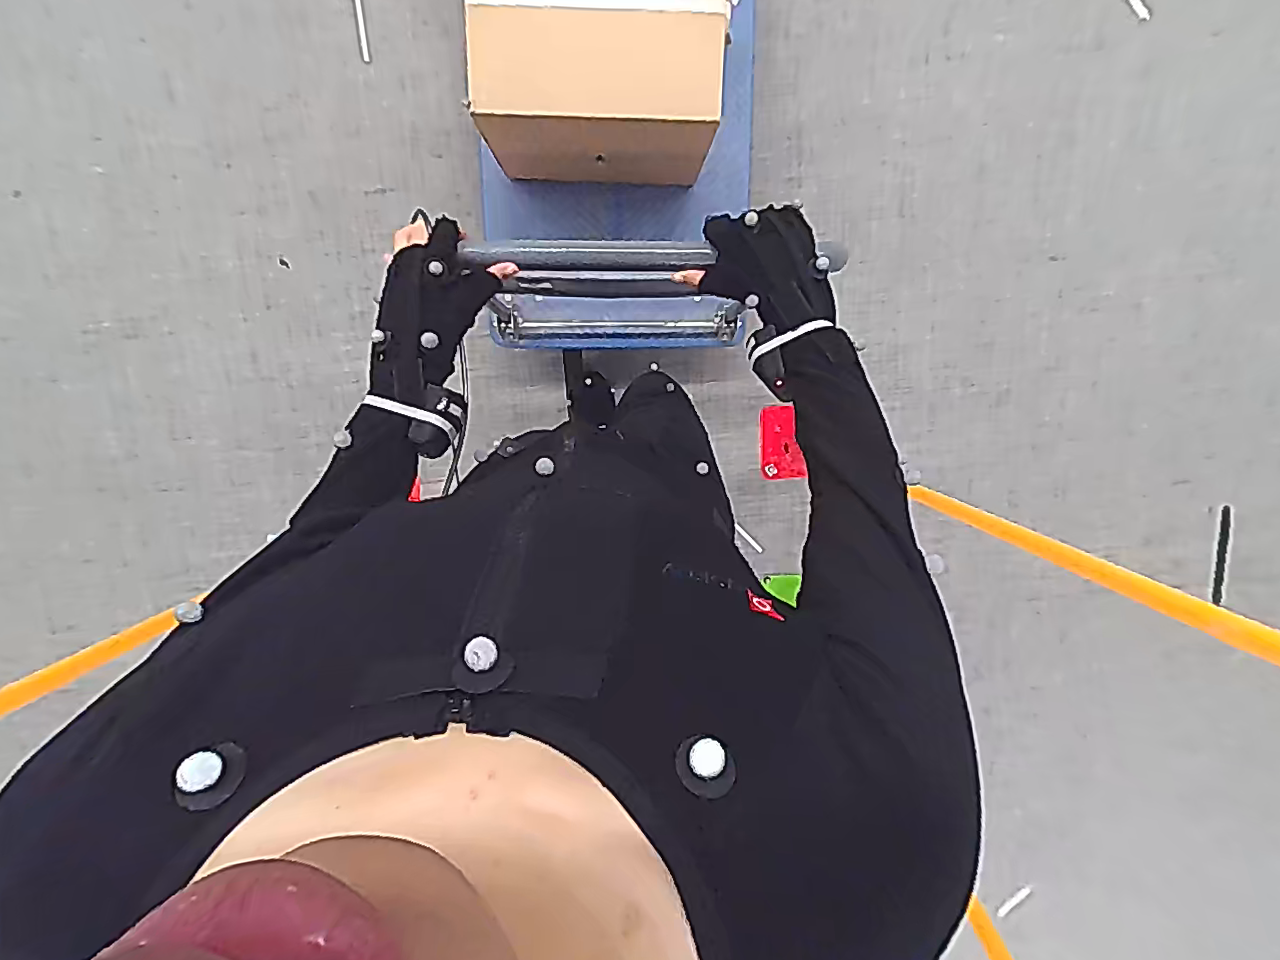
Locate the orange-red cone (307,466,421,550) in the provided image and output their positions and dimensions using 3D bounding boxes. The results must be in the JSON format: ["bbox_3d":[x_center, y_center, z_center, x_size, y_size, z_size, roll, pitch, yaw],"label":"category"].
[{"bbox_3d":[-0.681,0.093,1.287,0.198,0.360,0.199,3,100,-4],"label":"orange-red cone"}]

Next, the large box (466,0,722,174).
[{"bbox_3d":[-0.072,-0.770,0.980,0.408,0.320,0.320,0,102,-2],"label":"large box"}]

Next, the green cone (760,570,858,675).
[{"bbox_3d":[0.456,0.390,1.389,0.202,0.368,0.200,-1,102,-3],"label":"green cone"}]

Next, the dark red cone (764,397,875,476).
[{"bbox_3d":[0.440,-0.081,1.273,0.201,0.394,0.202,-5,102,-3],"label":"dark red cone"}]
